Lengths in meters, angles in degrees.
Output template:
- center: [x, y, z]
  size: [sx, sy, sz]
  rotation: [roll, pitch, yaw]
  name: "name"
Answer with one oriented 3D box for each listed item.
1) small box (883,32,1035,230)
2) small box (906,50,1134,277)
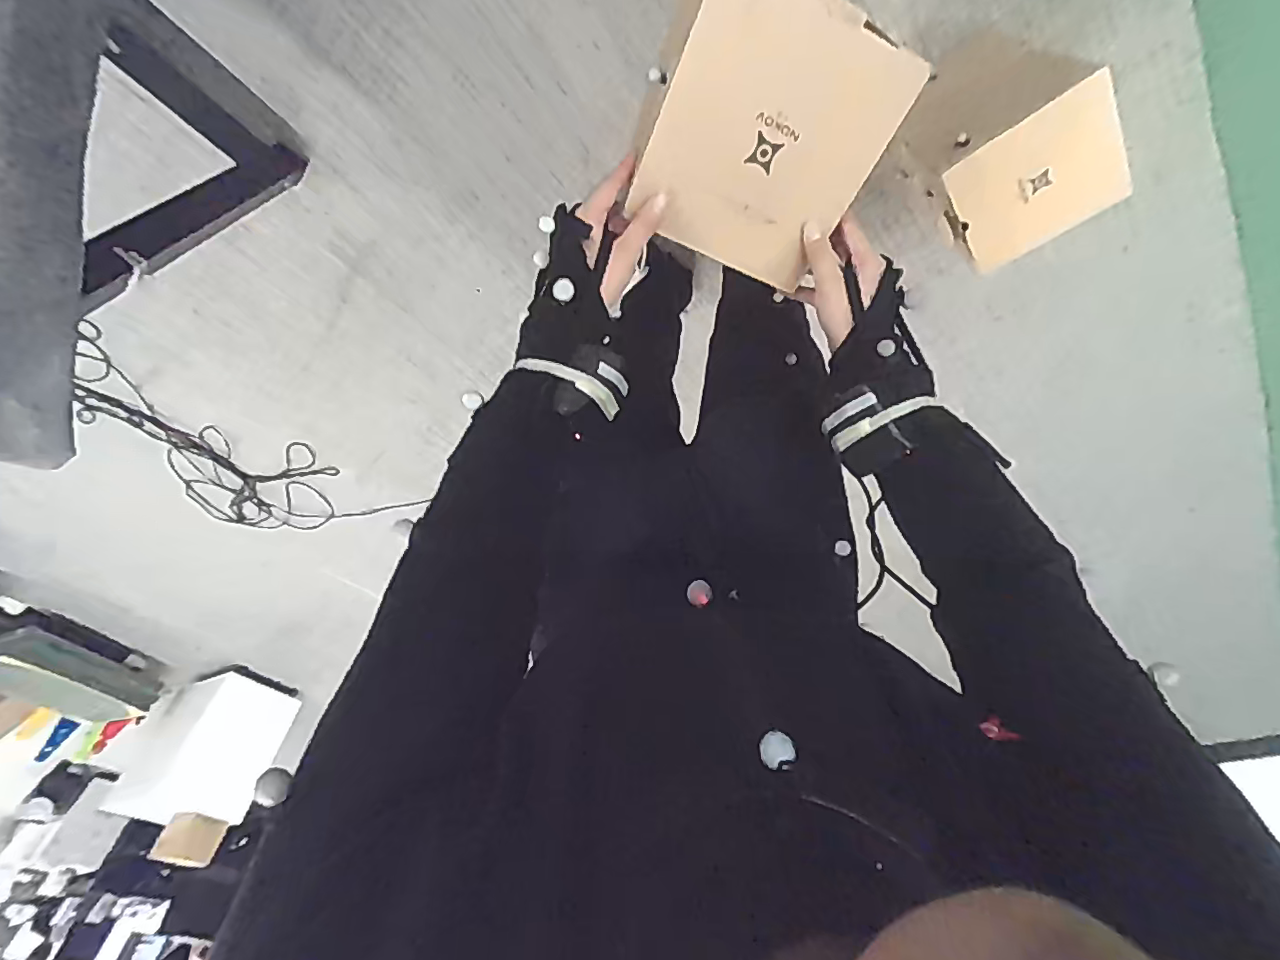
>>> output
- center: [0.492, -0.528, 0.822]
  size: [0.179, 0.176, 0.168]
  rotation: [-29, 125, 31]
  name: "small box"
- center: [0.483, -0.412, 0.706]
  size: [0.179, 0.176, 0.168]
  rotation: [-28, 126, 30]
  name: "small box"
